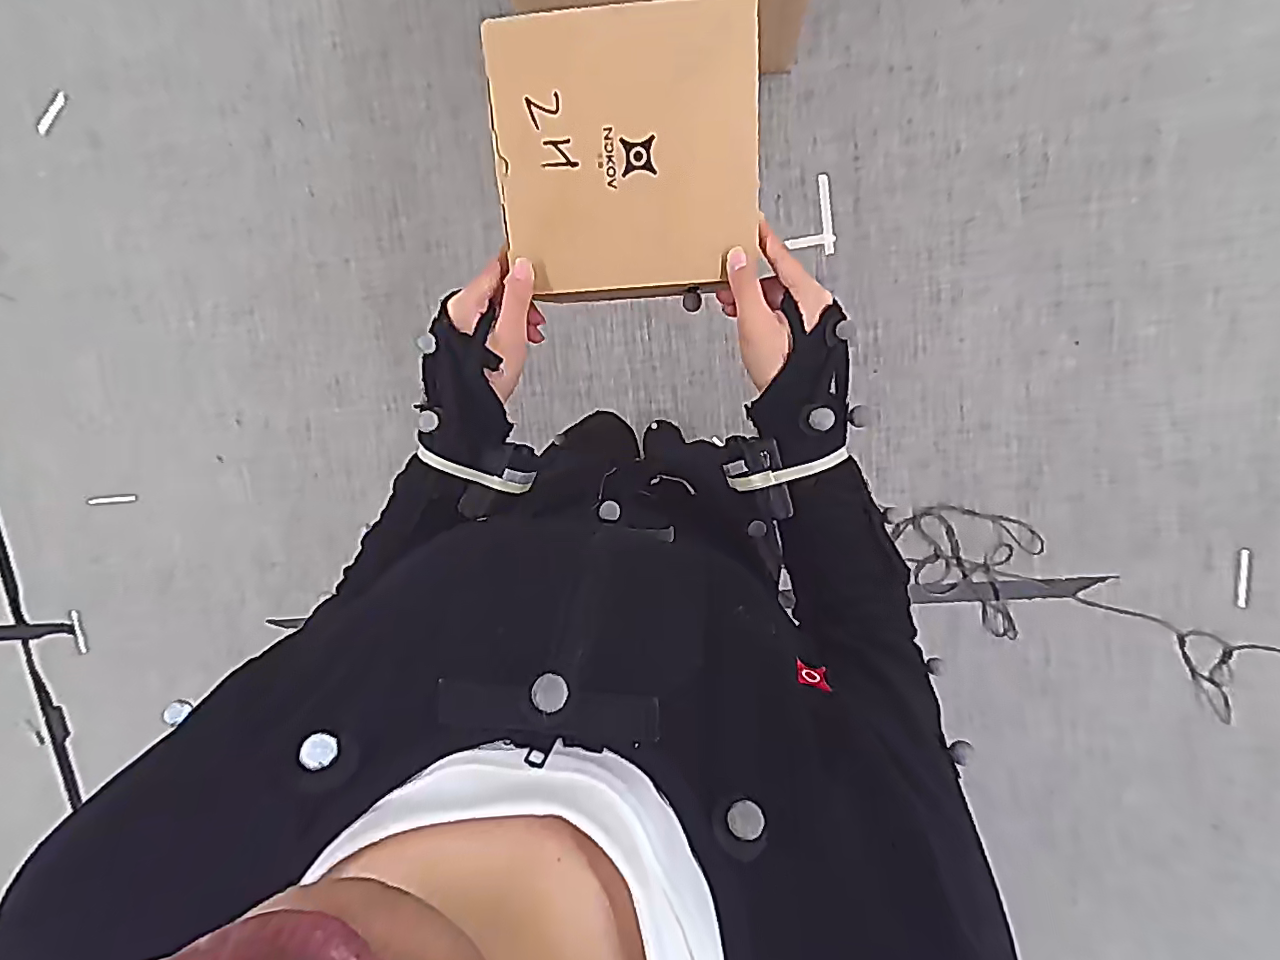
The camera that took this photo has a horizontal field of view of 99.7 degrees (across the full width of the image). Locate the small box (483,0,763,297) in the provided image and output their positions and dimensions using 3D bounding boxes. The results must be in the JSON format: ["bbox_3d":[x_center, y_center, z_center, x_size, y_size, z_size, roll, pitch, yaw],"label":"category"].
[{"bbox_3d":[-0.005,-0.238,0.429,0.179,0.176,0.168,-2,106,4],"label":"small box"}]
